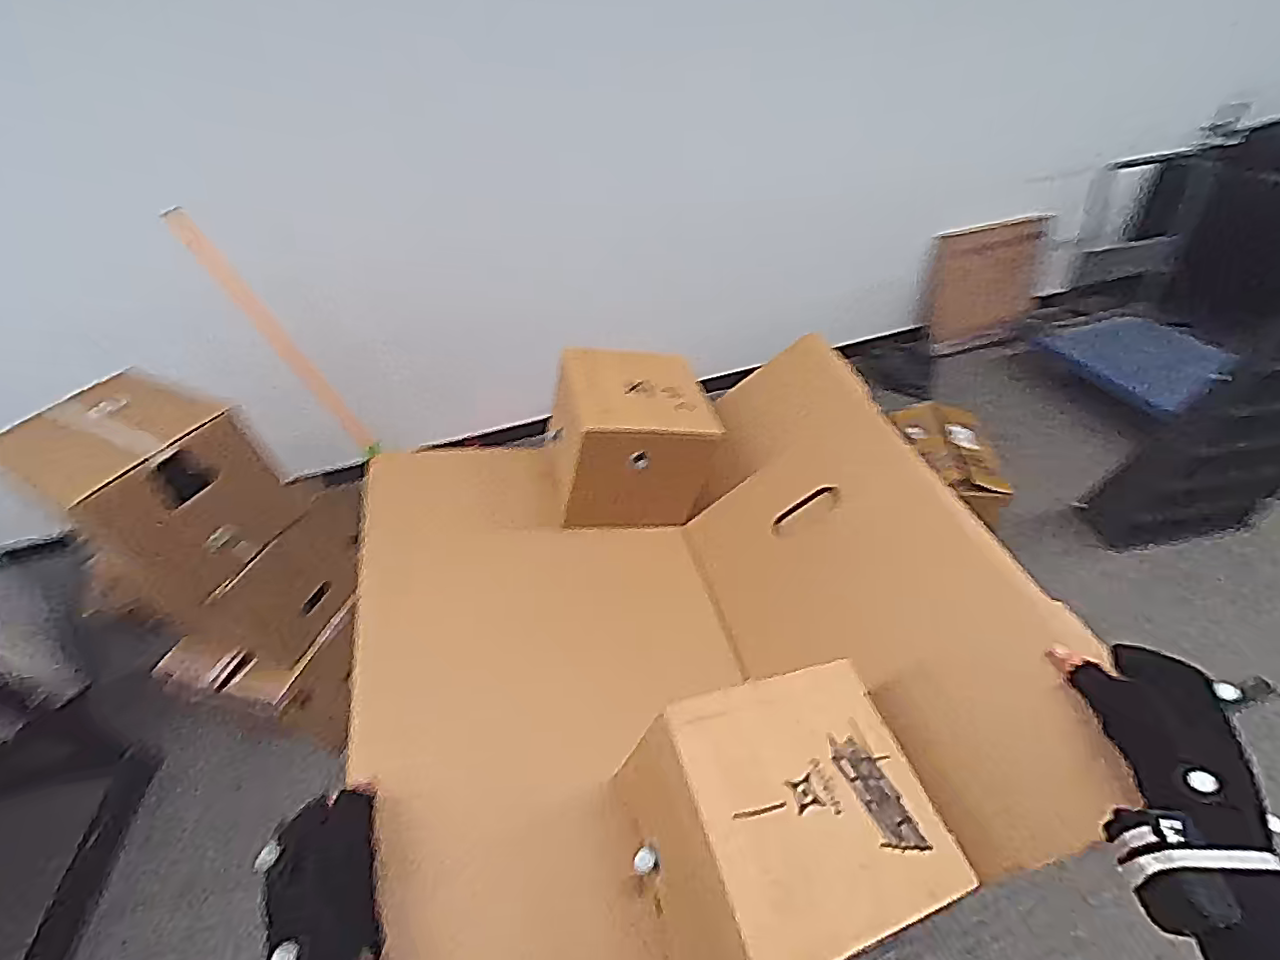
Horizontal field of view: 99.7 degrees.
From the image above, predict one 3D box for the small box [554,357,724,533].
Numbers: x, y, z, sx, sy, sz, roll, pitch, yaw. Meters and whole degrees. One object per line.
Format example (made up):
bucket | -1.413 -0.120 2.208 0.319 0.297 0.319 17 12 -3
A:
small box | -0.016 -0.042 0.719 0.179 0.176 0.168 1 45 -19
